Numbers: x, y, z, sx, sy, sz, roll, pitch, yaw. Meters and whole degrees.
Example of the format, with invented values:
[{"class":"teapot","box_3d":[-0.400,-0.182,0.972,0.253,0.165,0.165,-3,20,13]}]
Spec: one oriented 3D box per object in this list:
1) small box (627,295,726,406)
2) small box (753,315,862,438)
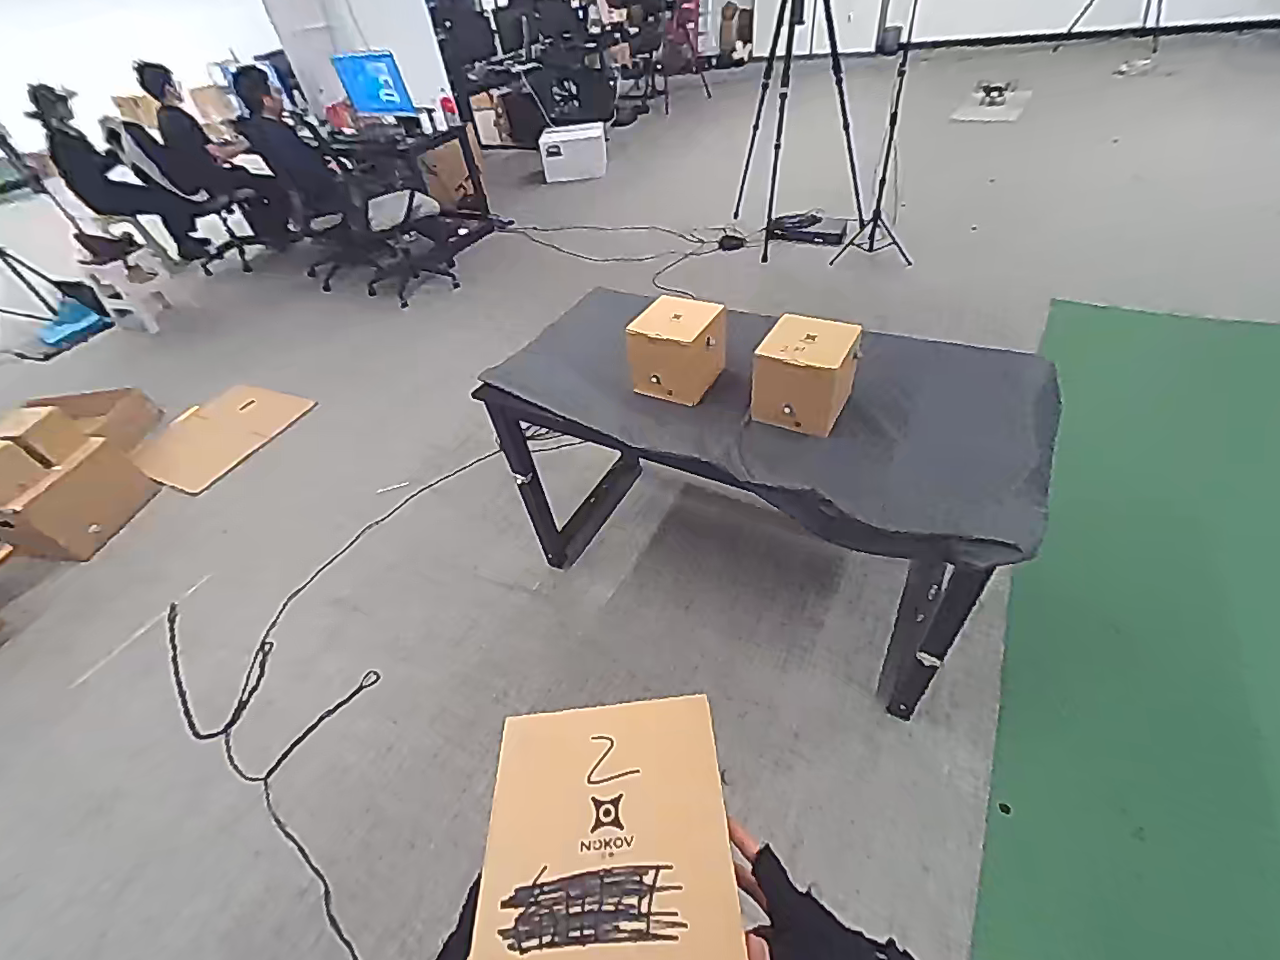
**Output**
[{"class":"small box","box_3d":[0.088,-0.303,1.260,0.168,0.176,0.179,19,51,25]},{"class":"small box","box_3d":[0.344,-0.218,1.135,0.168,0.176,0.179,19,51,25]}]
